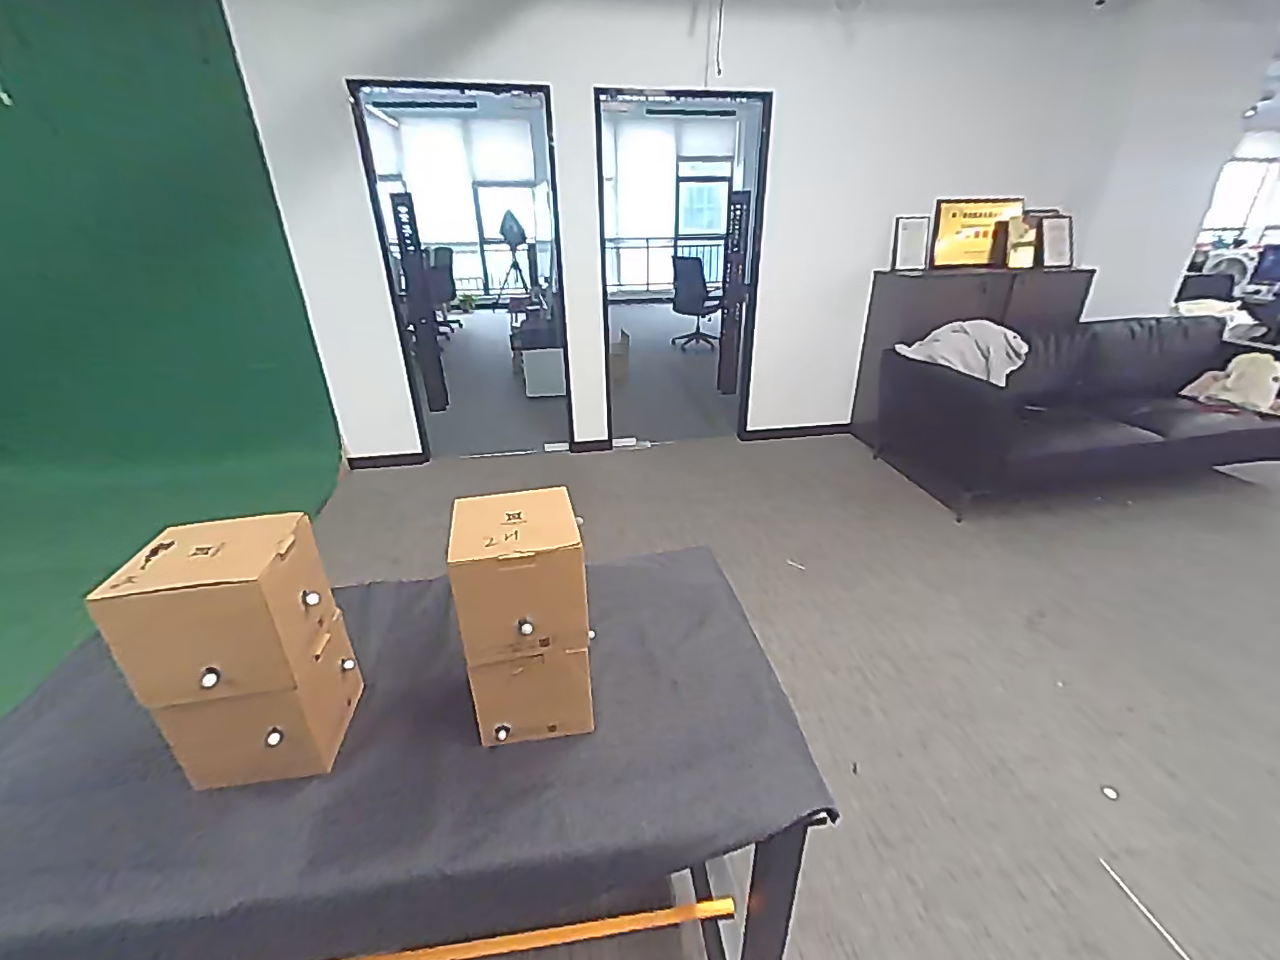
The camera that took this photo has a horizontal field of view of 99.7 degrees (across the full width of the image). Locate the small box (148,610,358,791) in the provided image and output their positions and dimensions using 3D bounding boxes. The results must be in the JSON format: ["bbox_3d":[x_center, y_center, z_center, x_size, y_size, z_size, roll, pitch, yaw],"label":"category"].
[{"bbox_3d":[-0.533,0.313,0.781,0.179,0.176,0.168,-5,24,-8],"label":"small box"}]

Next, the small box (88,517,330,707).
[{"bbox_3d":[-0.534,0.166,0.707,0.179,0.176,0.168,-5,24,-11],"label":"small box"}]

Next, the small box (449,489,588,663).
[{"bbox_3d":[-0.171,0.130,0.774,0.168,0.176,0.179,-7,26,-13],"label":"small box"}]

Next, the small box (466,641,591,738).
[{"bbox_3d":[-0.167,0.278,0.846,0.168,0.176,0.179,-4,25,-8],"label":"small box"}]
